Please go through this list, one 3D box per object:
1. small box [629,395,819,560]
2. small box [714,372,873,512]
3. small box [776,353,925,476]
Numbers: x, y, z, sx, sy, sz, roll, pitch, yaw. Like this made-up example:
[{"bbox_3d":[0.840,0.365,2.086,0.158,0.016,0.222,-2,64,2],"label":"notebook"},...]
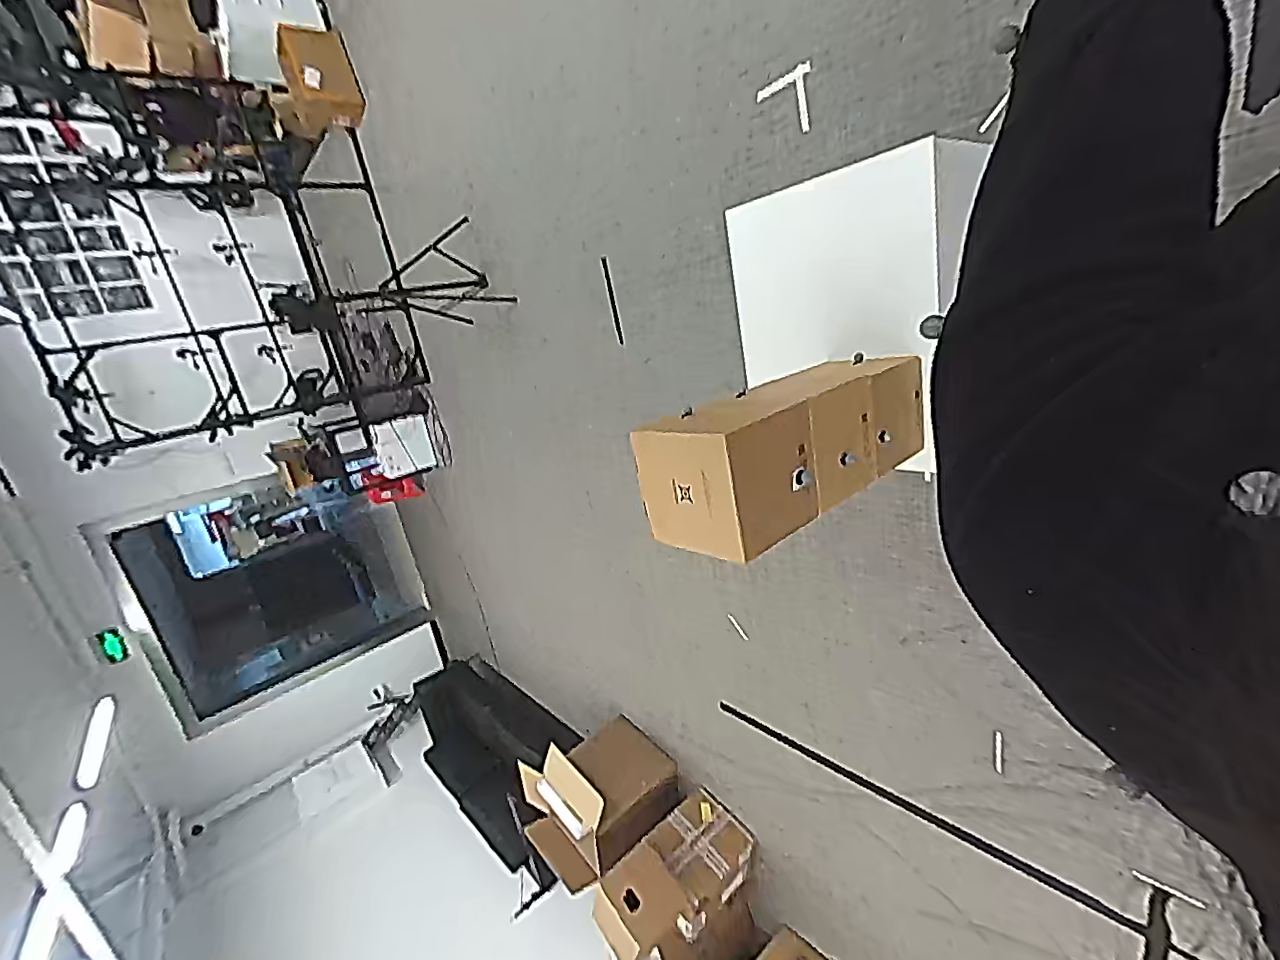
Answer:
[{"bbox_3d":[0.115,-0.014,0.732,0.179,0.176,0.168,7,115,50],"label":"small box"},{"bbox_3d":[0.238,-0.065,0.825,0.179,0.176,0.168,8,115,51],"label":"small box"},{"bbox_3d":[0.359,-0.118,0.922,0.179,0.176,0.168,10,117,50],"label":"small box"}]
